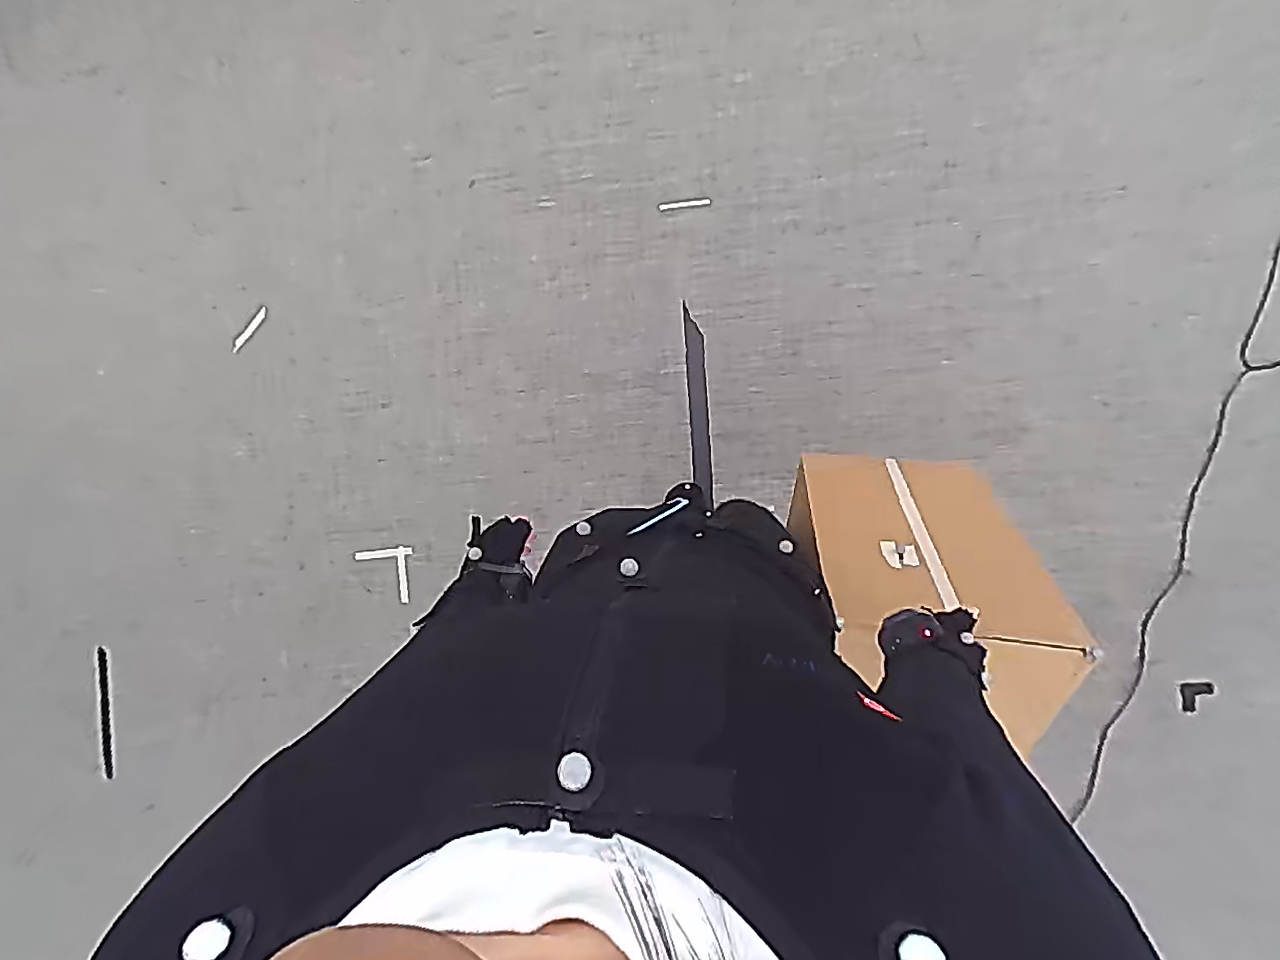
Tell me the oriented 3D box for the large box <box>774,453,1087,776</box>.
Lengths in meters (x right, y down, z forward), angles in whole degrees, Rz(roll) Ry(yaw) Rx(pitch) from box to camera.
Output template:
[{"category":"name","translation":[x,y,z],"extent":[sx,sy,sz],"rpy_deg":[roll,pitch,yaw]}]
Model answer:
[{"category":"large box","translation":[0.410,0.200,0.903],"extent":[0.320,0.408,0.320],"rpy_deg":[5,127,8]}]
